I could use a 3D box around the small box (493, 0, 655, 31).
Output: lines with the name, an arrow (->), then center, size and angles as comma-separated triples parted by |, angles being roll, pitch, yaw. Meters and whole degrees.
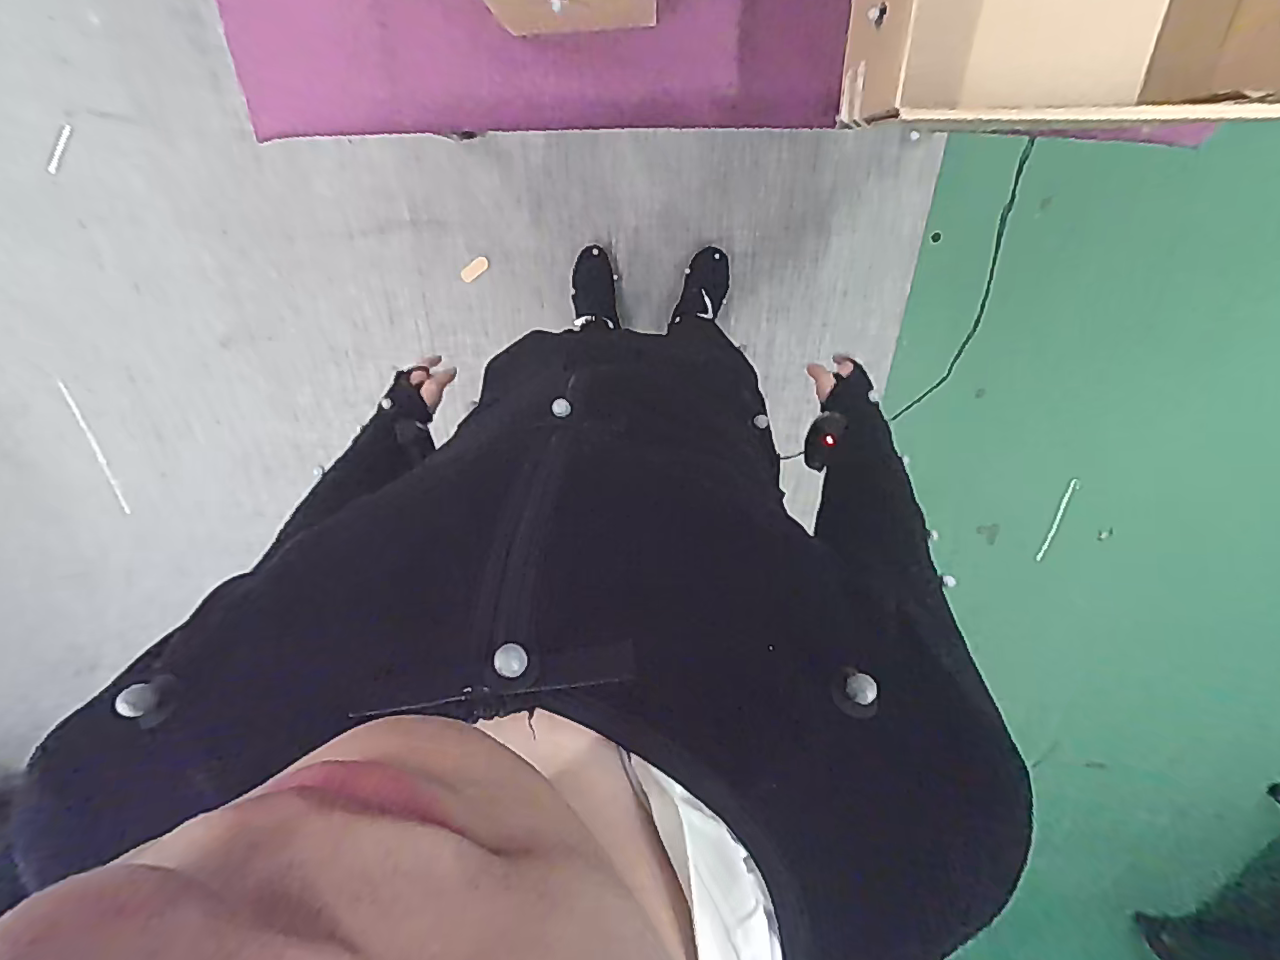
small box -> -0.075, -0.575, 0.537 | 0.179, 0.176, 0.168 | -2, 117, 2
